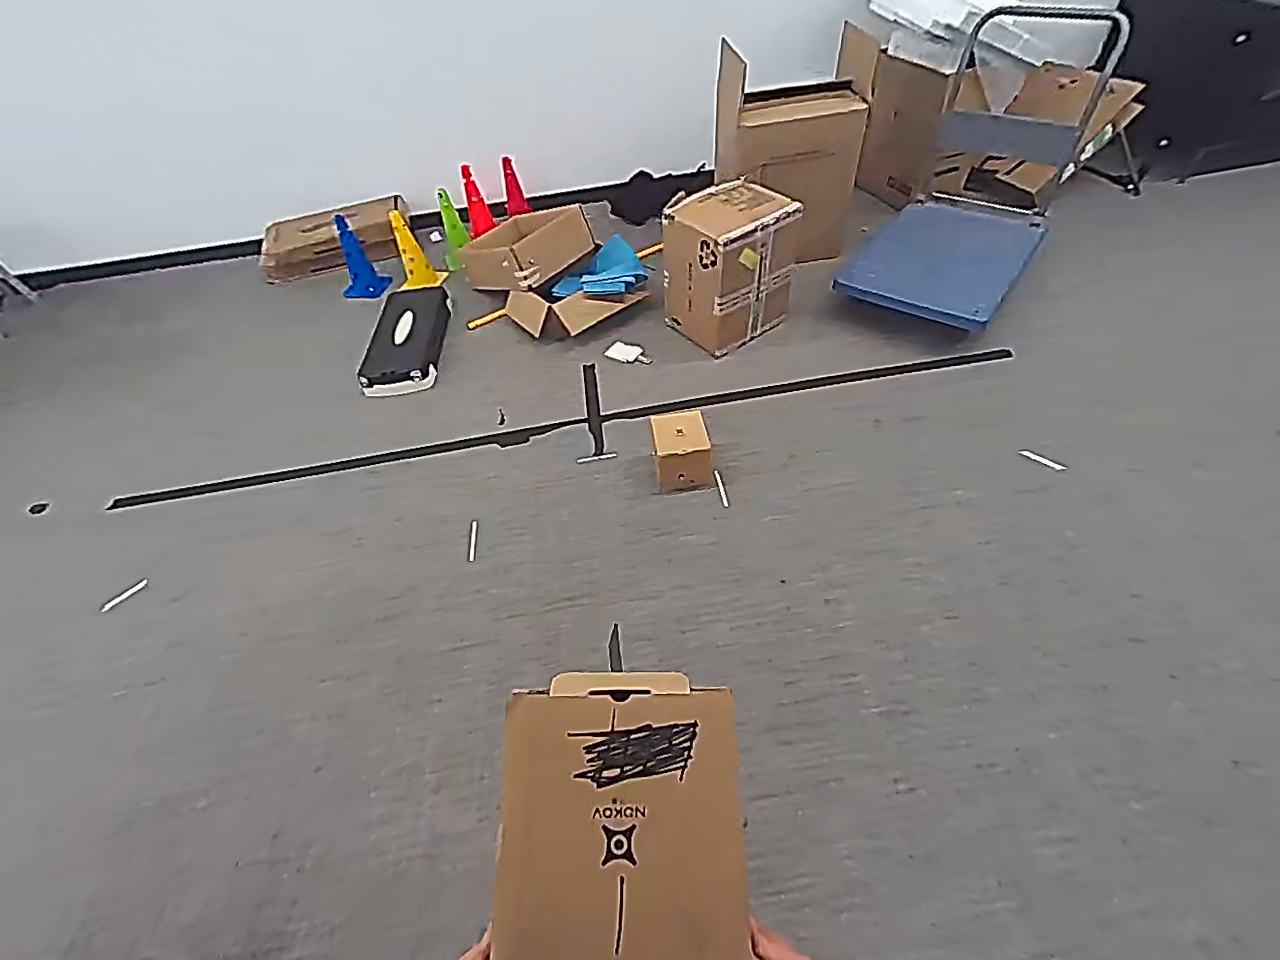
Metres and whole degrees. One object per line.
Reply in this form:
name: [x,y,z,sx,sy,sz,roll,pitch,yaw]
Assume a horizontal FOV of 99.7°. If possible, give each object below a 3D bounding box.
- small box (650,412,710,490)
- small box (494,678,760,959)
small box: [0.127,-0.092,1.751,0.168,0.176,0.179,-9,50,-2]
small box: [-0.009,0.257,0.430,0.168,0.176,0.179,-1,67,0]
